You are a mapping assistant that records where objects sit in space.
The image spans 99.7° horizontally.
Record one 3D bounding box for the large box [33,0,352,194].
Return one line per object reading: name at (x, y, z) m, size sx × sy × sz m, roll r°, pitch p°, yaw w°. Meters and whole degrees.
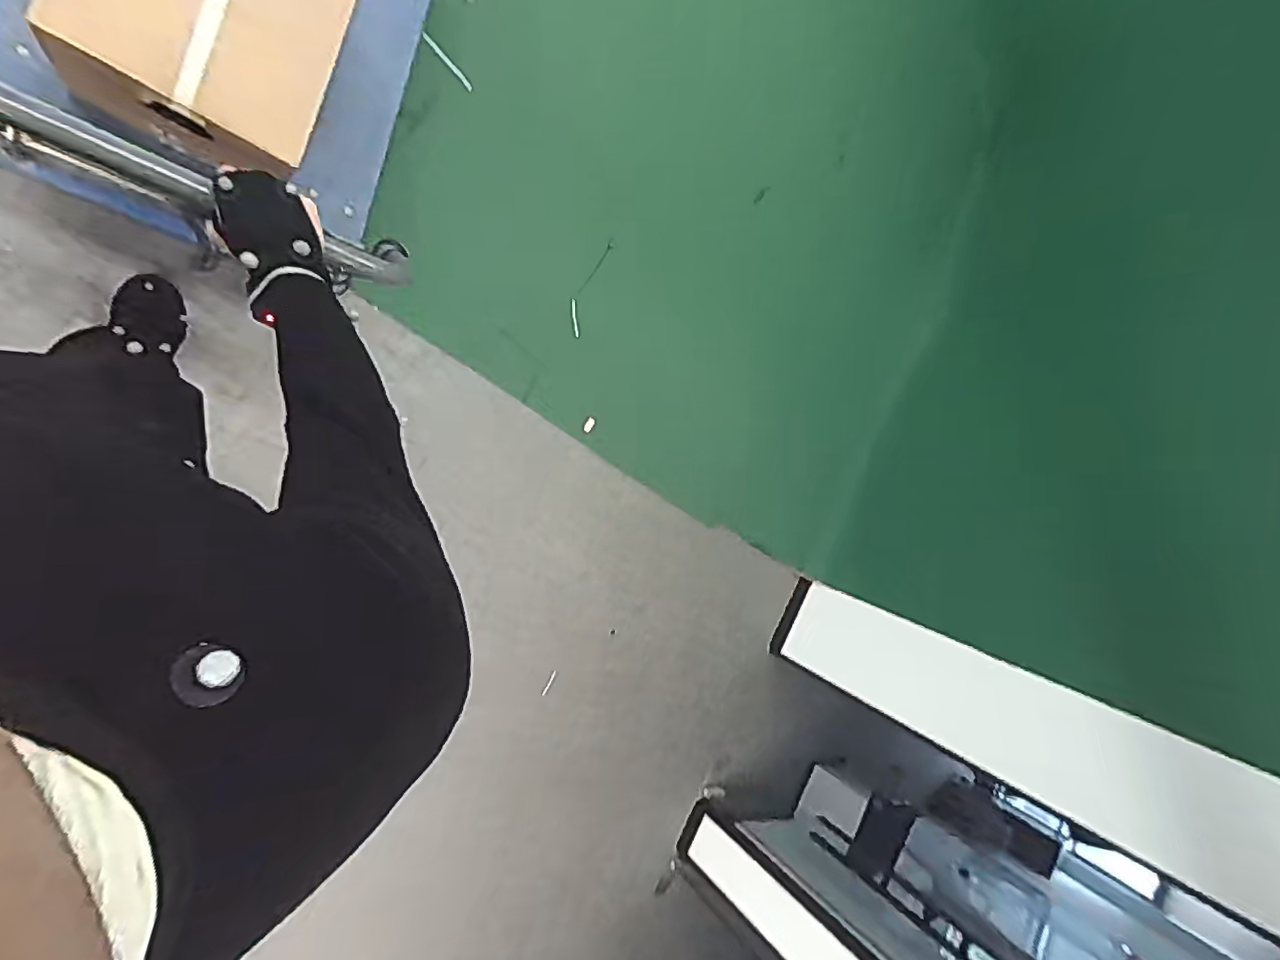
large box at (-0.710, -0.777, 0.909) m, size 0.320 × 0.320 × 0.408 m, roll 19°, pitch 90°, yaw -42°
